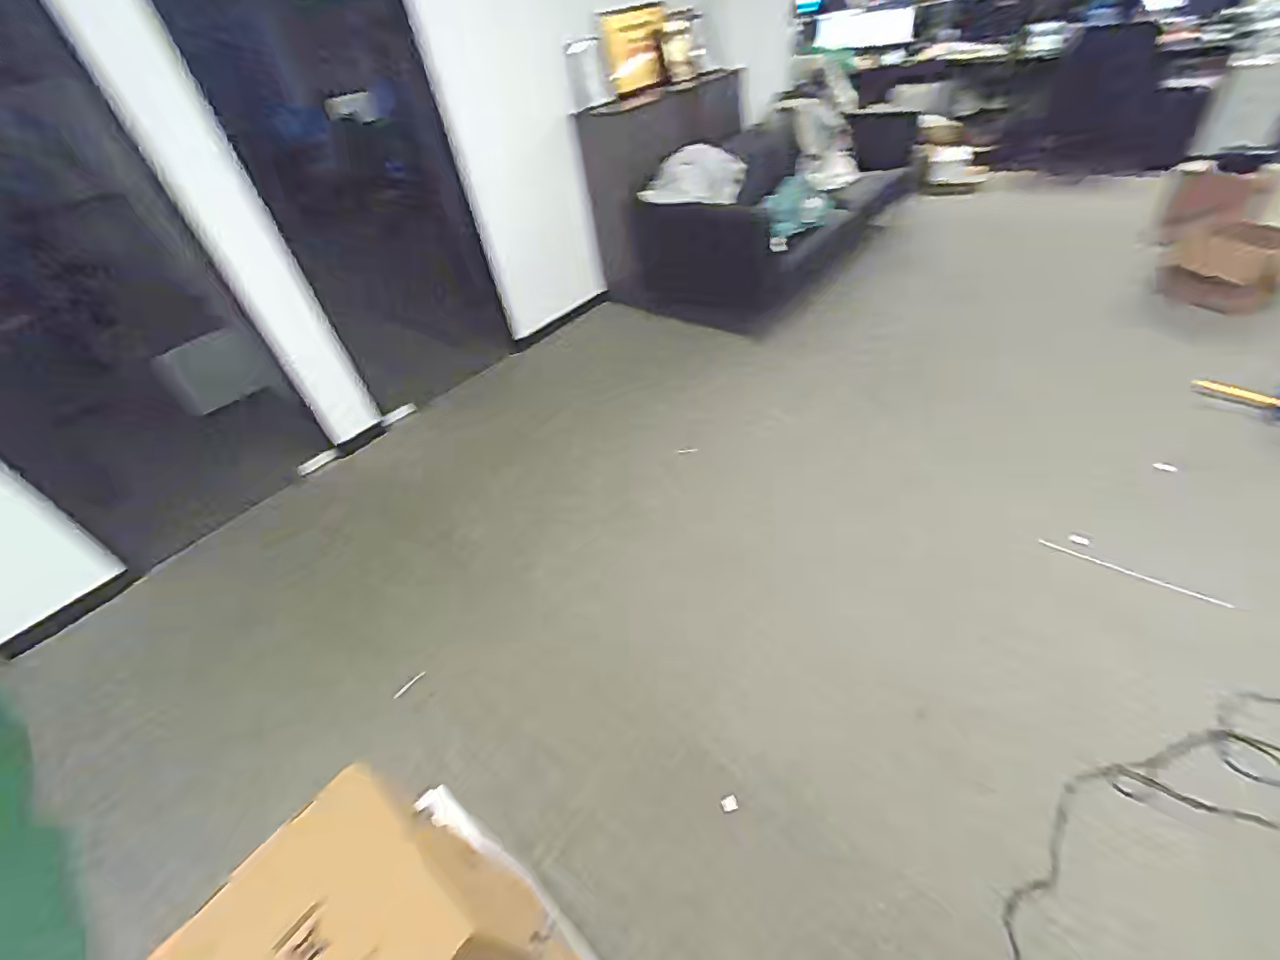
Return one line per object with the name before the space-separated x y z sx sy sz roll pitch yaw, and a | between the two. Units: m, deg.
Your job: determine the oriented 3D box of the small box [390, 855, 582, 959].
small box | -0.170 0.607 0.646 0.179 0.176 0.168 29 56 36
